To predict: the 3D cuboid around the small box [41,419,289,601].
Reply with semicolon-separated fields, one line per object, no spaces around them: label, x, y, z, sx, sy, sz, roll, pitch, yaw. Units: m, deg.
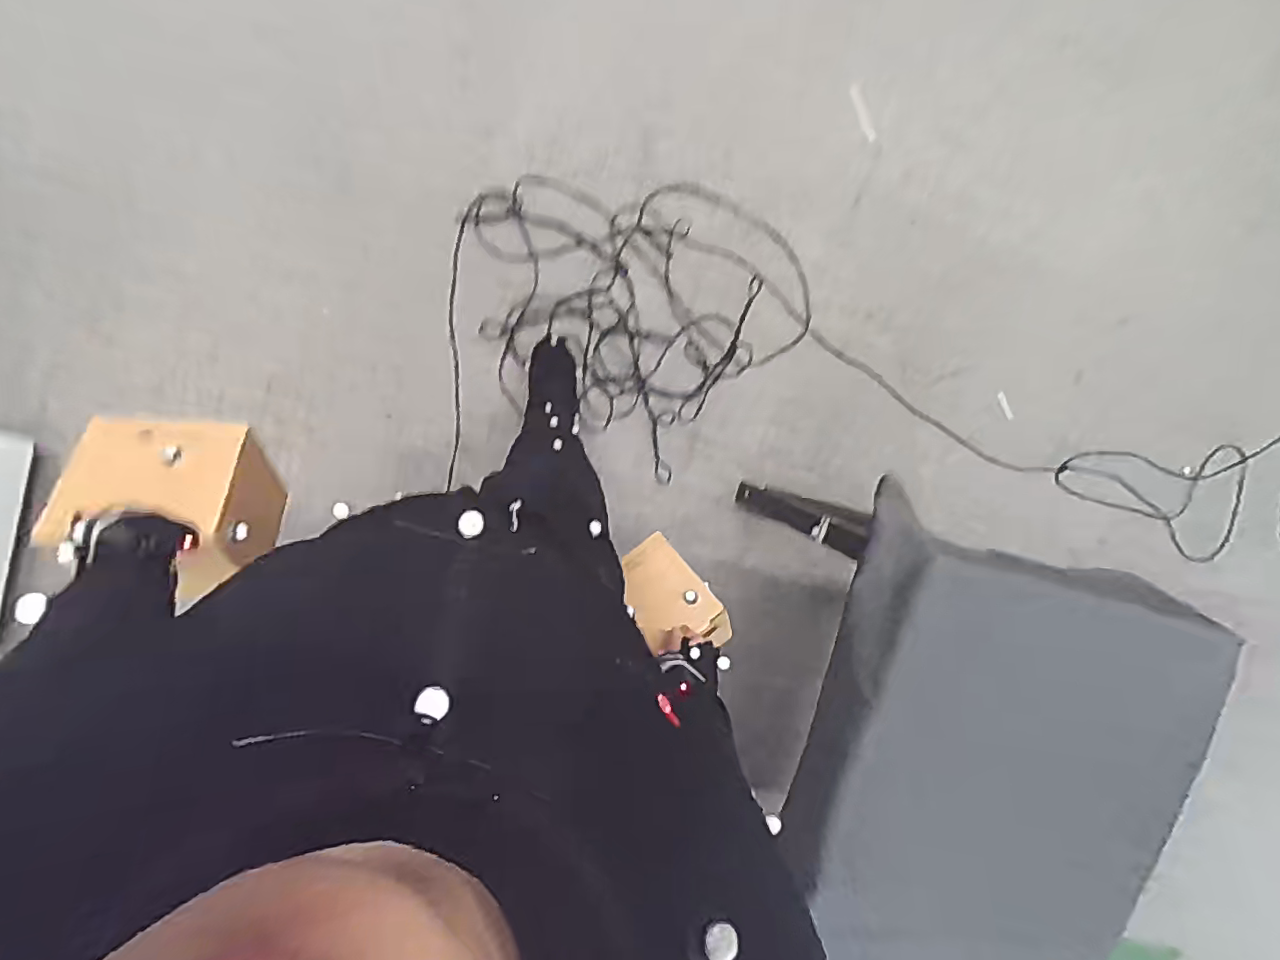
small box;-0.575;0.043;0.691;0.168;0.179;0.176;0;58;-16
